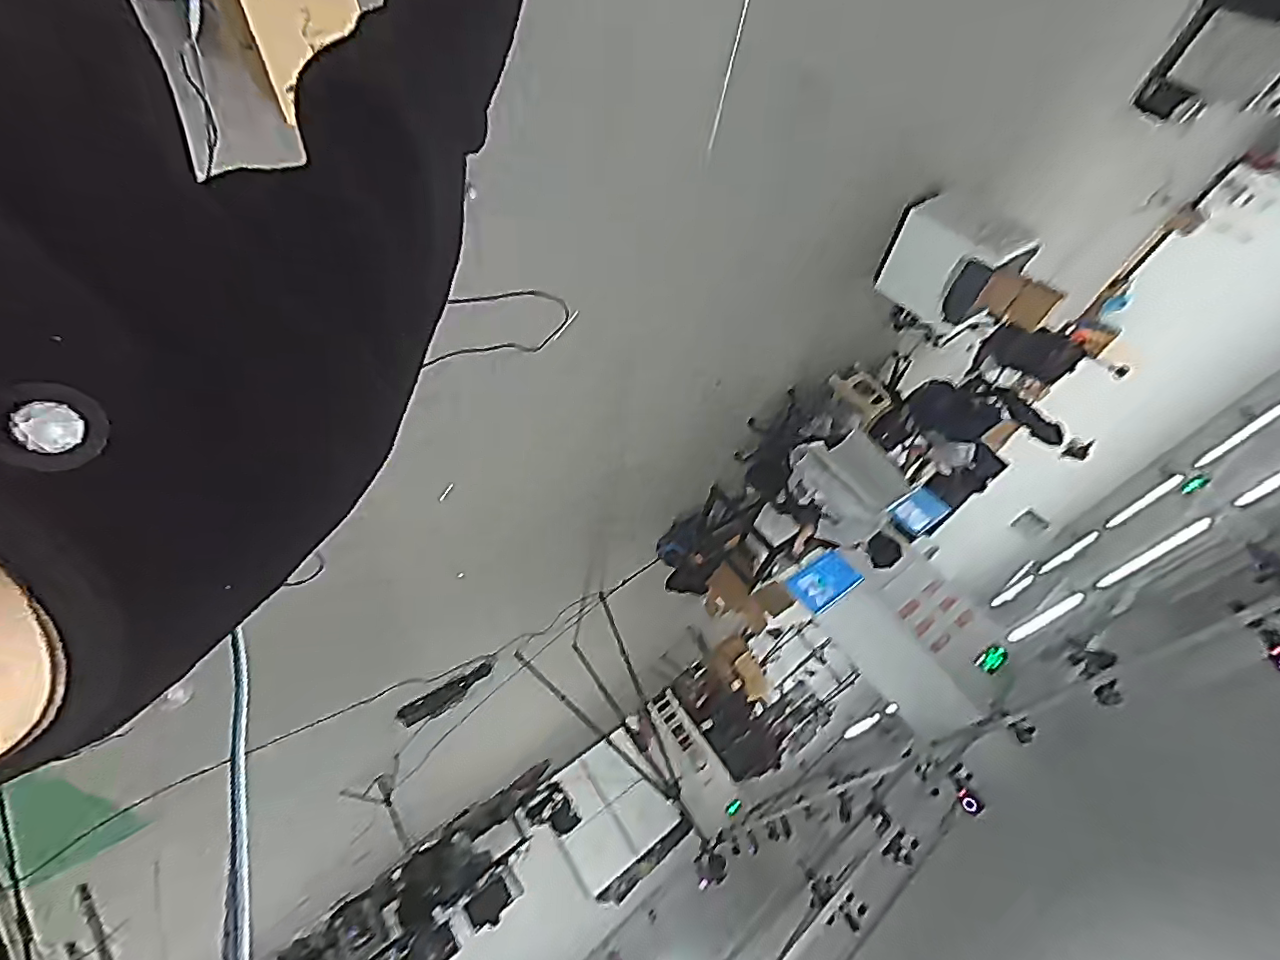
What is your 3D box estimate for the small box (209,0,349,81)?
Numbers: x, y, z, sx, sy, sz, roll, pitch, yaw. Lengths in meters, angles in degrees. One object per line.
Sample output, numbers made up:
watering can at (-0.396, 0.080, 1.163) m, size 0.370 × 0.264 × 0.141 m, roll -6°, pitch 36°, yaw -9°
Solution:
small box at (-0.663, -0.850, 0.969) m, size 0.179 × 0.176 × 0.168 m, roll -29°, pitch 152°, yaw -24°
